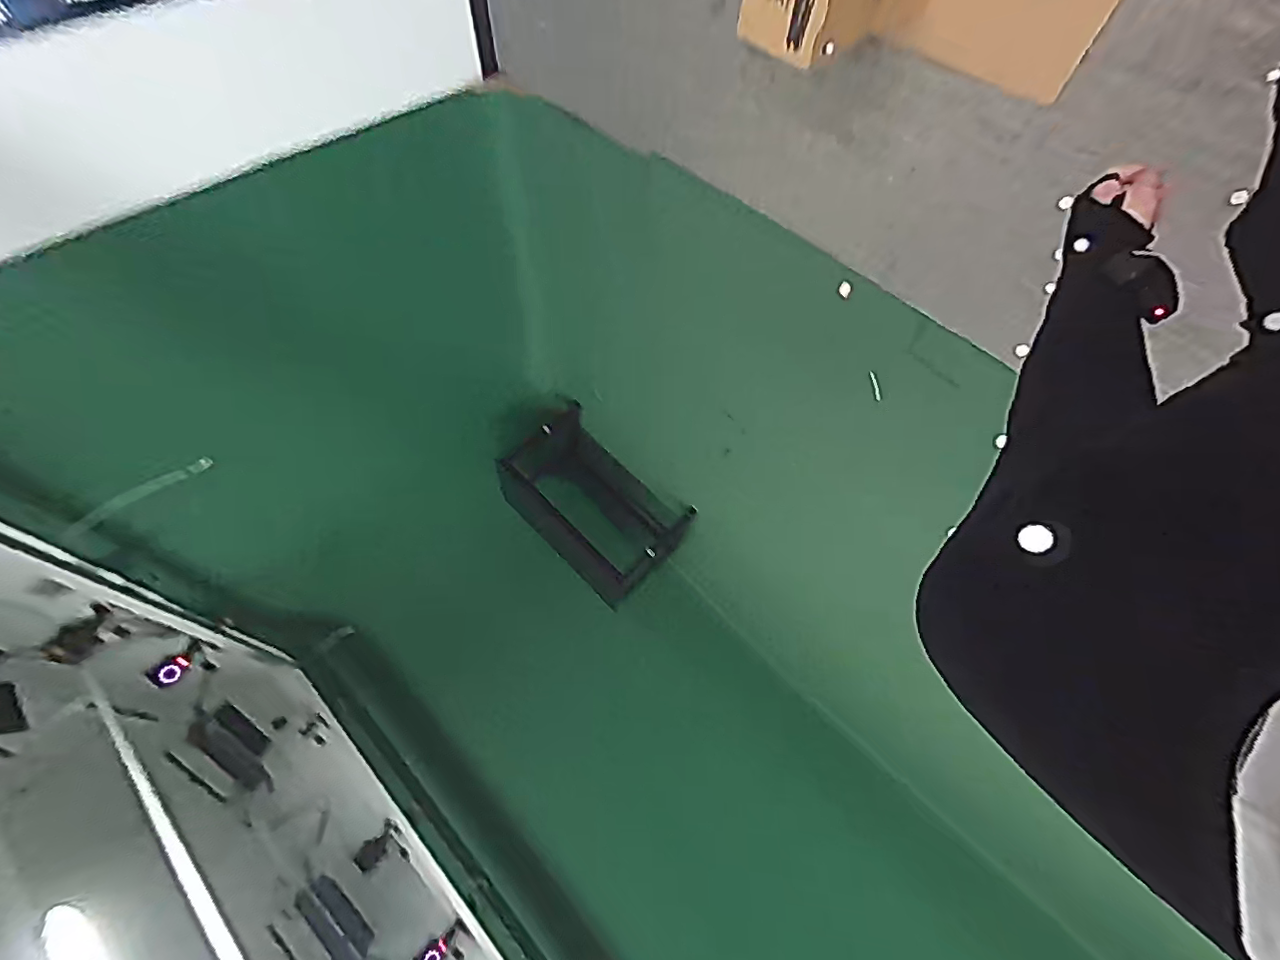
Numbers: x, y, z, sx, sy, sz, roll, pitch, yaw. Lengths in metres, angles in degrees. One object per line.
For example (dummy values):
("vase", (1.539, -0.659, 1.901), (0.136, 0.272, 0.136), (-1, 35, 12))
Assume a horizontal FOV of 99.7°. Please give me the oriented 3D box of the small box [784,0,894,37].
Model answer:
("small box", (0.417, -1.019, 1.050), (0.168, 0.176, 0.179), (41, 156, 17))
